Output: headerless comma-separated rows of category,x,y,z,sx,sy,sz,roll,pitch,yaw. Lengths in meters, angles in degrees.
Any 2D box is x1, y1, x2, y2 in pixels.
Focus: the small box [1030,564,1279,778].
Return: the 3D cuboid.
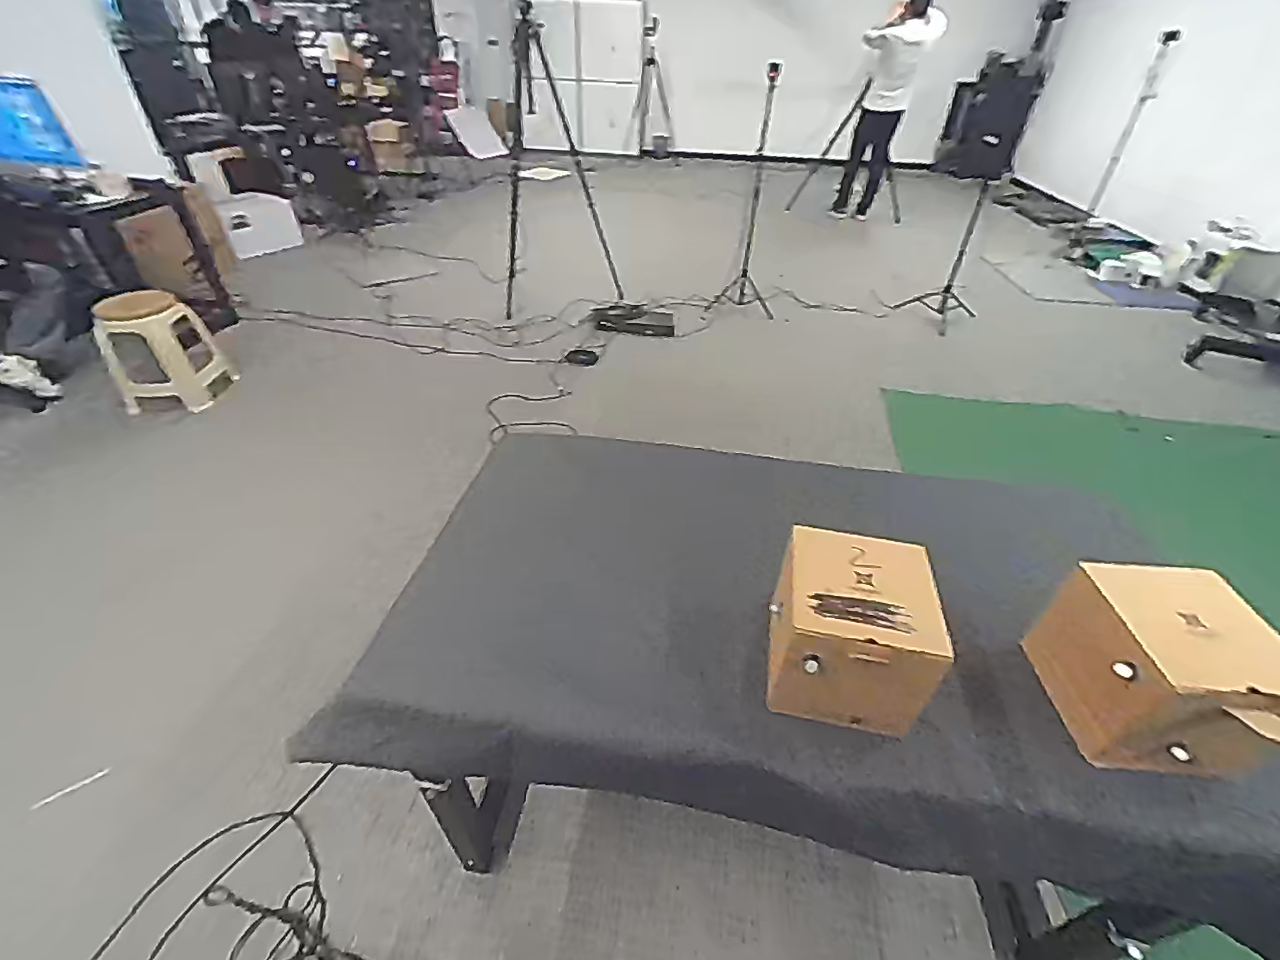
small box,0.623,0.226,0.653,0.168,0.176,0.179,3,39,3
